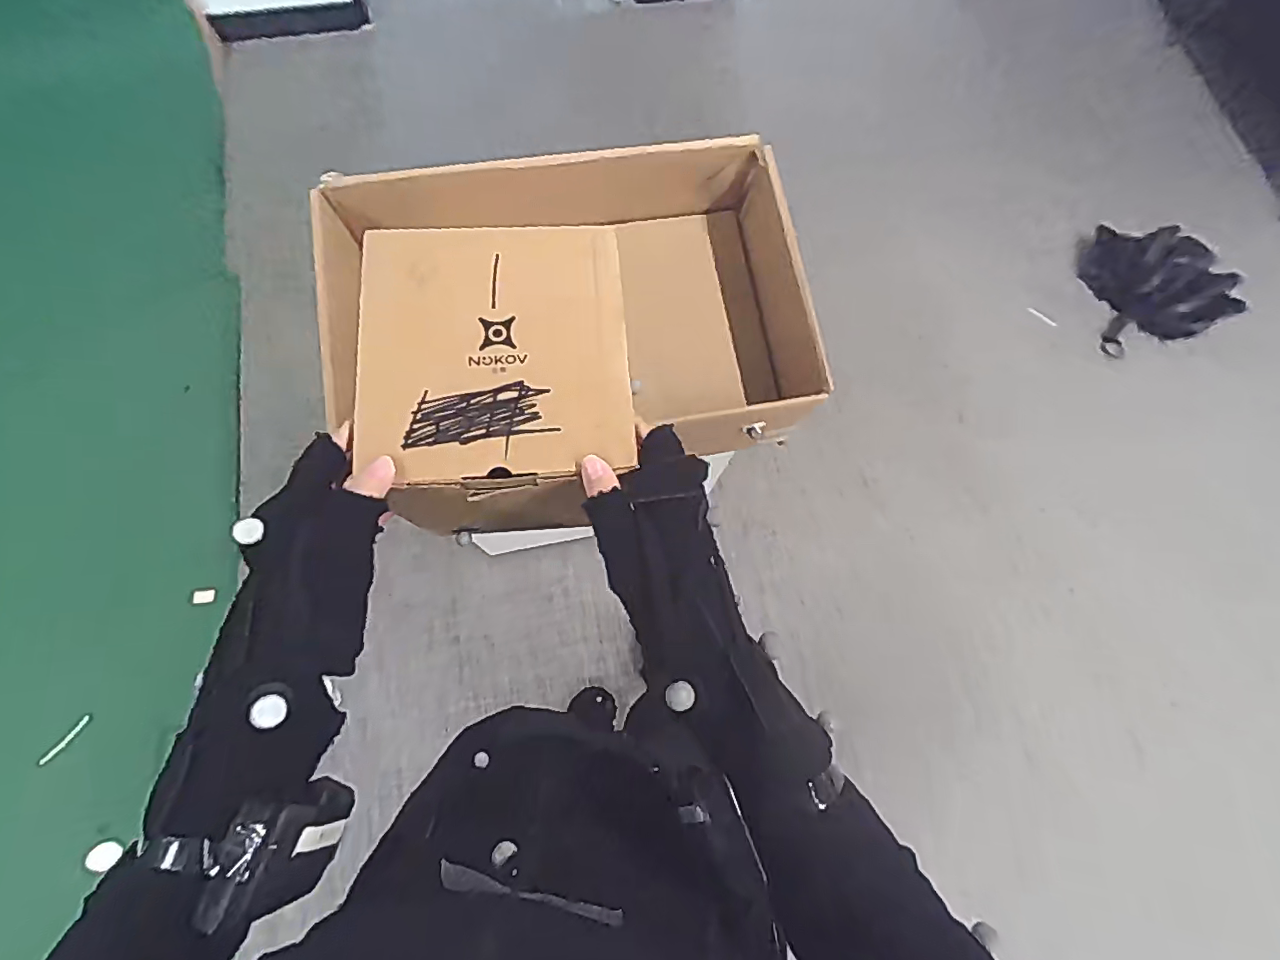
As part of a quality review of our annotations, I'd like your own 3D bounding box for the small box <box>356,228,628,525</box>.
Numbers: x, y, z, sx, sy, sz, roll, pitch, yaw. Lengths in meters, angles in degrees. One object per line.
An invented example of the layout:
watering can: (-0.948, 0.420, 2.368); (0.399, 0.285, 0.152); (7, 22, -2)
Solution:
small box: (-0.098, -0.064, 0.420); (0.168, 0.176, 0.179); (-4, 74, -5)
